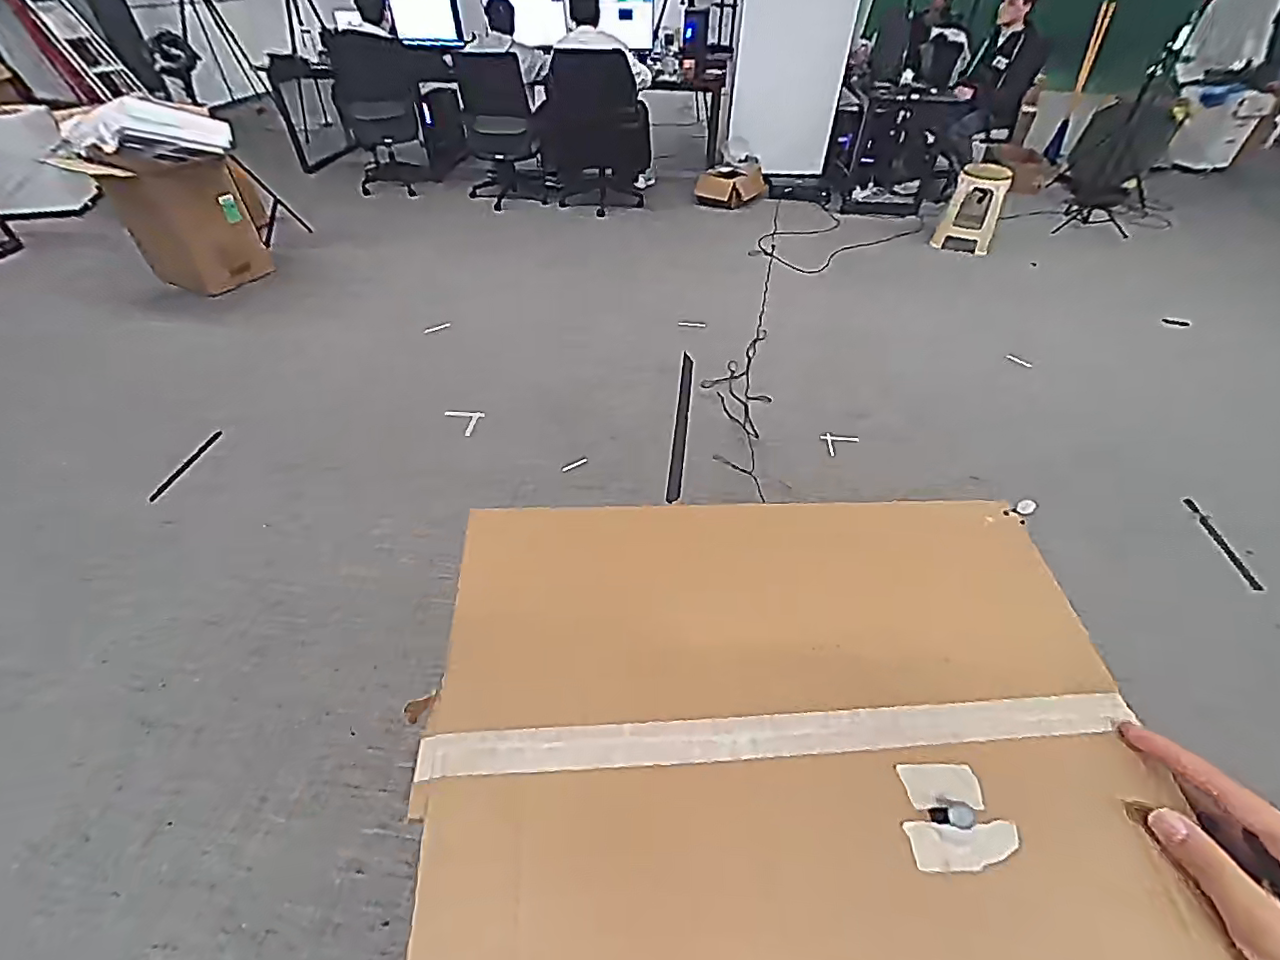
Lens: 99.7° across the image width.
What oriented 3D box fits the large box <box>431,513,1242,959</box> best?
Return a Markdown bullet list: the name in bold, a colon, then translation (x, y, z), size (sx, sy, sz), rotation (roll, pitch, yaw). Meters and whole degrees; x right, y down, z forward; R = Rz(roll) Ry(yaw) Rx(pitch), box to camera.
- **large box**: translation (0.080, 0.241, 0.433), size (0.408, 0.320, 0.320), rotation (0, 54, -6)
